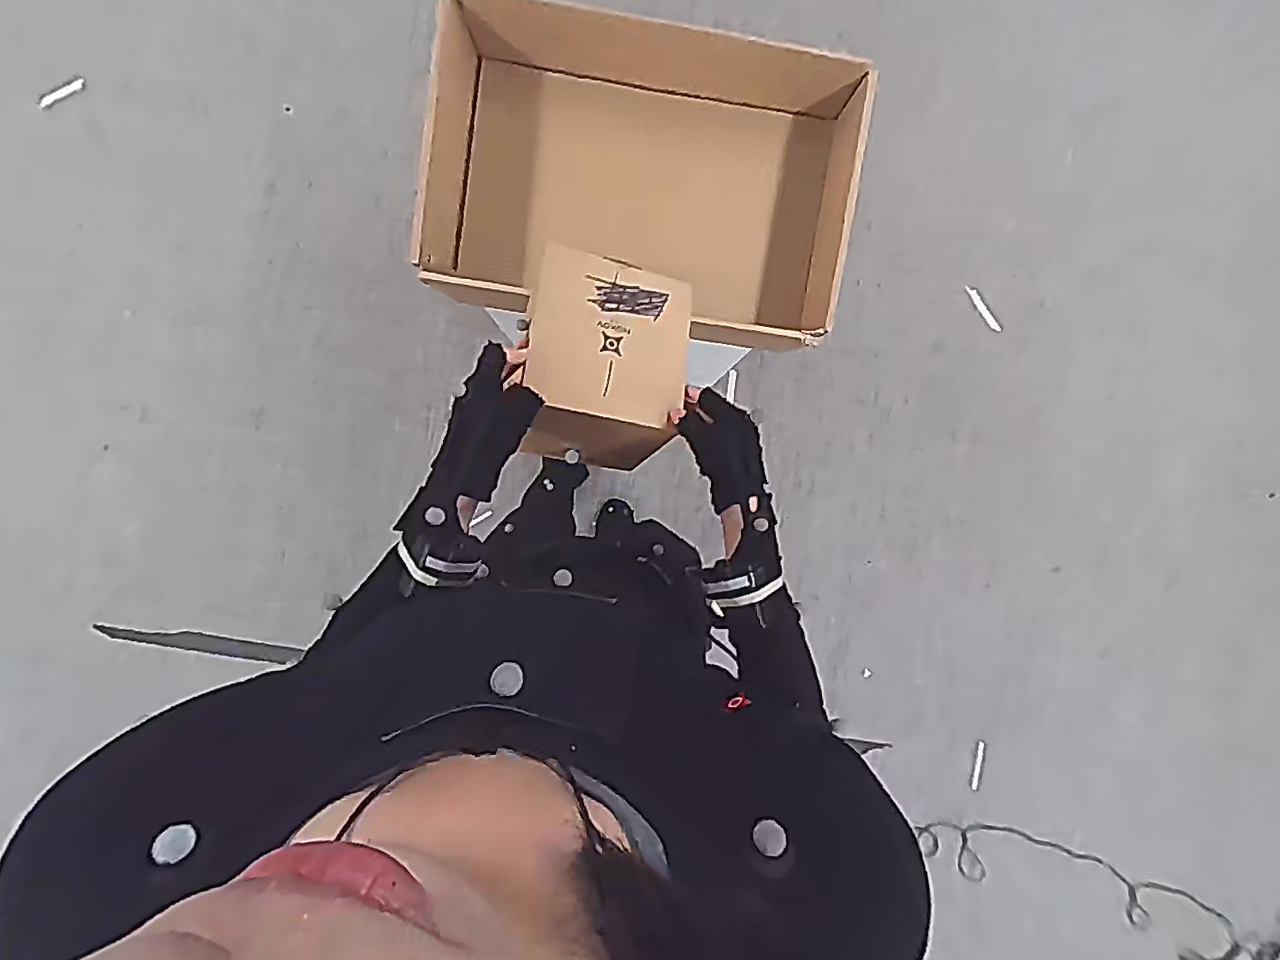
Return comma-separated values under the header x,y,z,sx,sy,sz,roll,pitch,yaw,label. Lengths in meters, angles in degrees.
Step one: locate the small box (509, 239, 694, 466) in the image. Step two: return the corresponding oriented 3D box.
x,y,z,sx,sy,sz,roll,pitch,yaw,label
-0.050,-0.130,0.620,0.168,0.176,0.179,10,74,-16,small box
